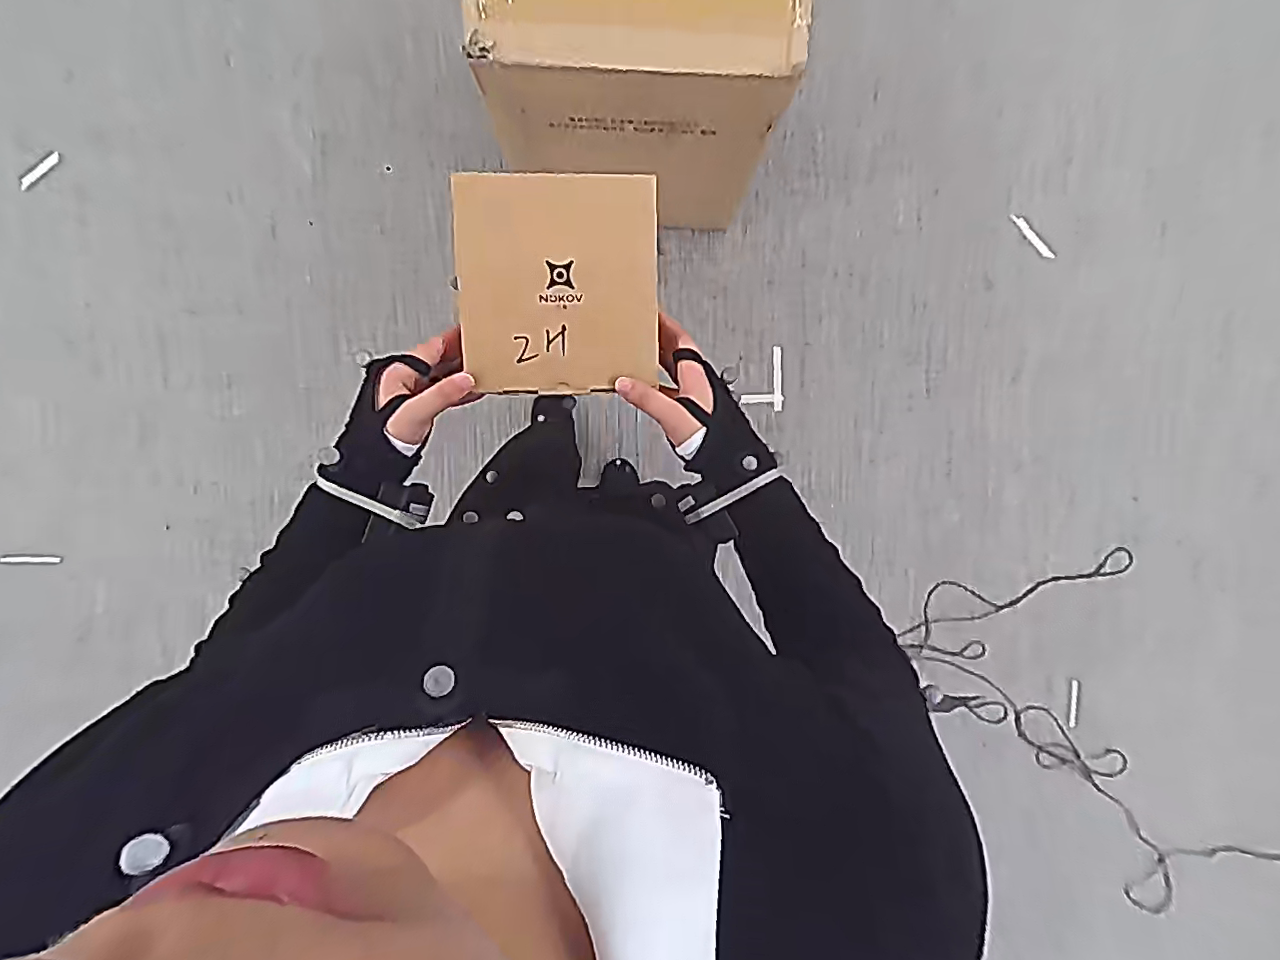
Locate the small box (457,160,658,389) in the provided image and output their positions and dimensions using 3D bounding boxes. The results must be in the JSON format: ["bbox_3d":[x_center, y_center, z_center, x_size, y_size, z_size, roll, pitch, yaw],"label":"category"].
[{"bbox_3d":[-0.073,-0.181,0.529,0.168,0.176,0.179,-1,98,-4],"label":"small box"}]
